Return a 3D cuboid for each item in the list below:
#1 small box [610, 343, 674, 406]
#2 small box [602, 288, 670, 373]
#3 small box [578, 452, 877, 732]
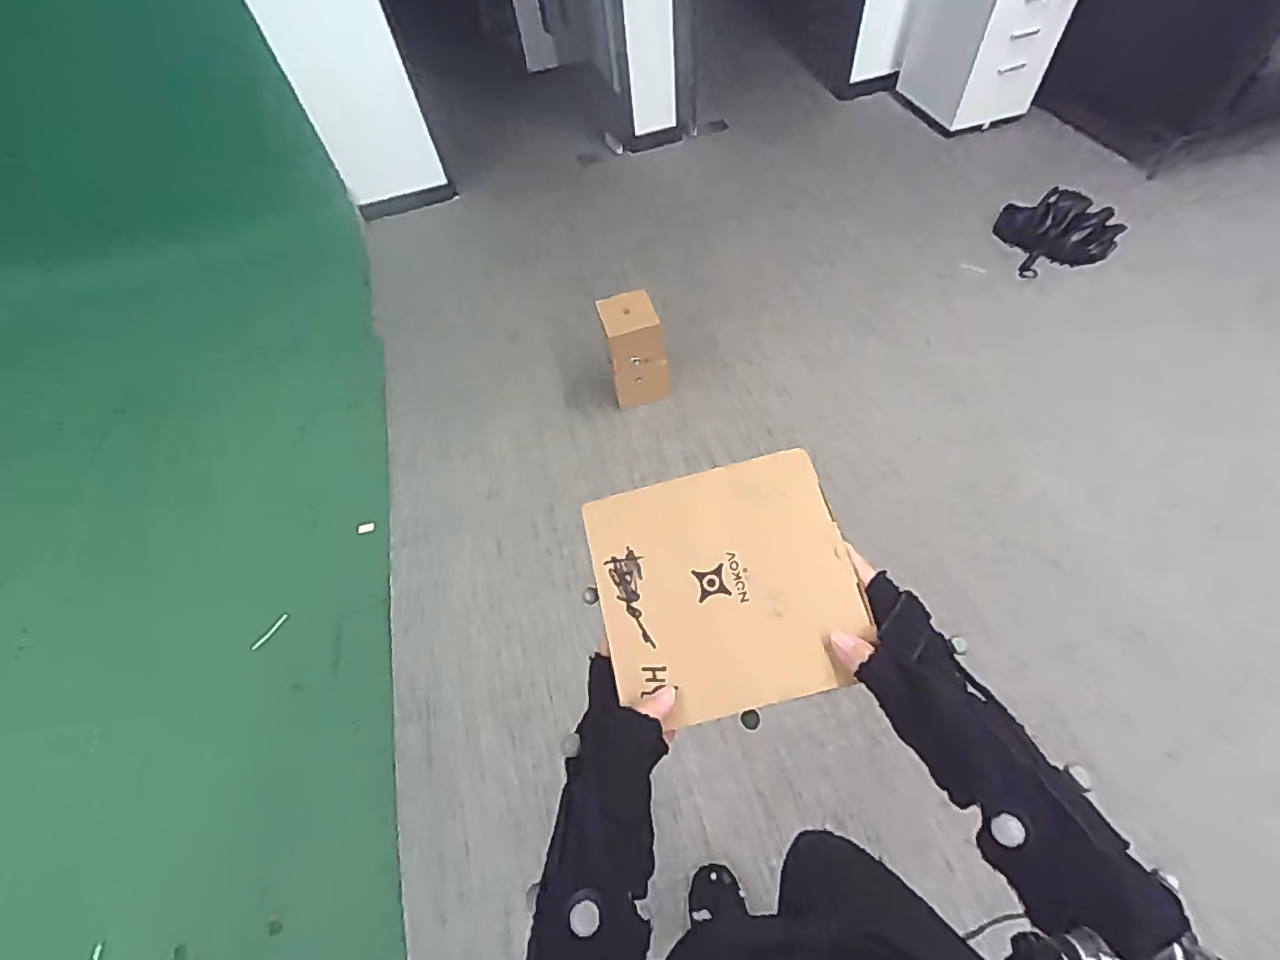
[{"bbox_3d":[0.010,-0.378,1.849,0.179,0.176,0.168,-15,57,-3],"label":"small box"},{"bbox_3d":[-0.011,-0.472,1.718,0.168,0.176,0.179,-18,58,-3],"label":"small box"},{"bbox_3d":[0.060,0.100,0.448,0.179,0.176,0.168,-13,66,1],"label":"small box"}]
